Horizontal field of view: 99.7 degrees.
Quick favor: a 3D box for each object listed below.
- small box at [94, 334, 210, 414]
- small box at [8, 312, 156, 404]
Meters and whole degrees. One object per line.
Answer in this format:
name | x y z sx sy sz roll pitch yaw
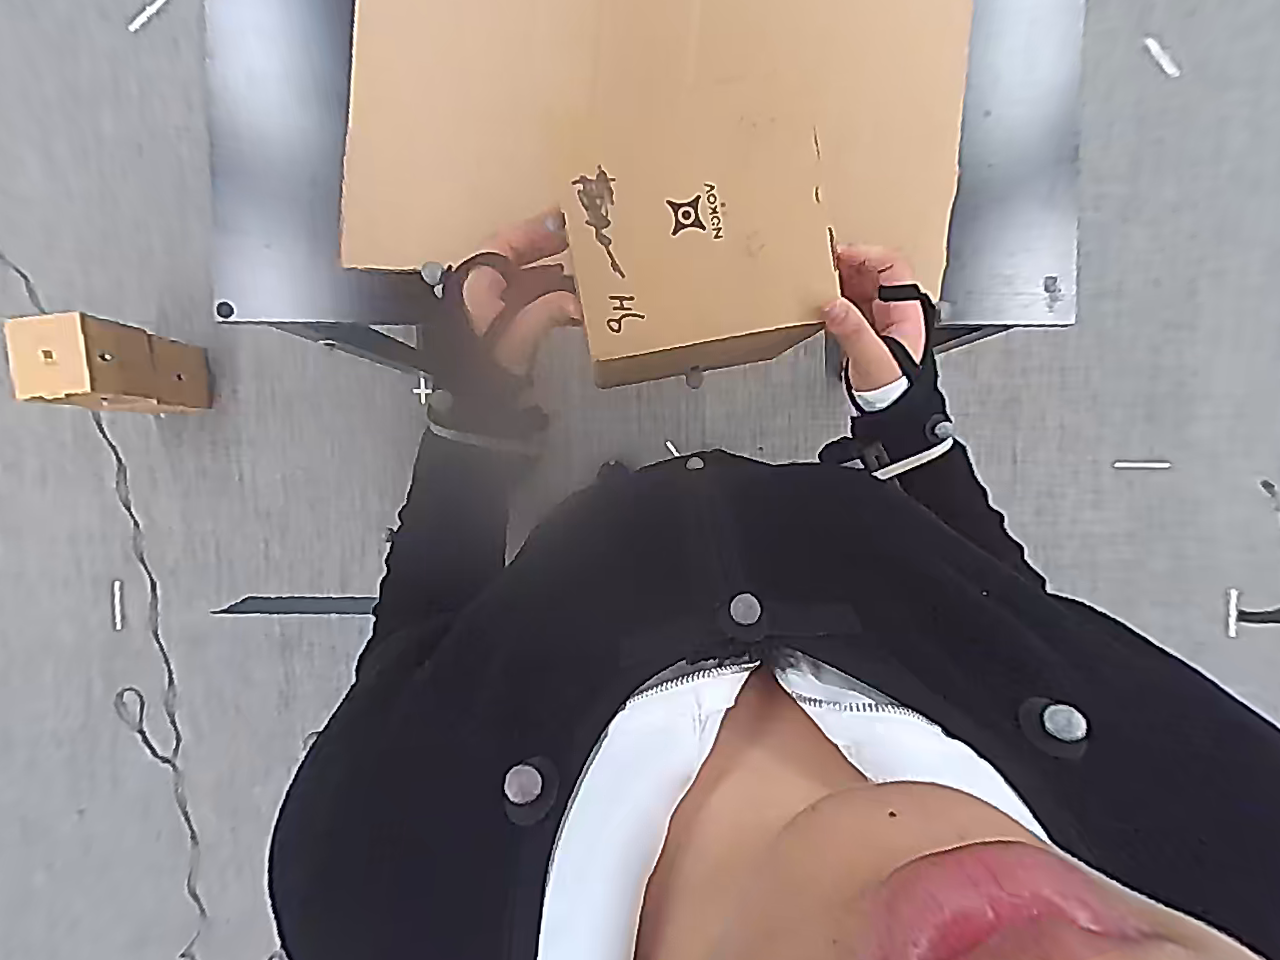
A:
small box | -1.267 -0.271 1.407 0.168 0.176 0.179 -4 93 0
small box | -1.268 -0.271 1.244 0.168 0.176 0.179 -7 92 0
